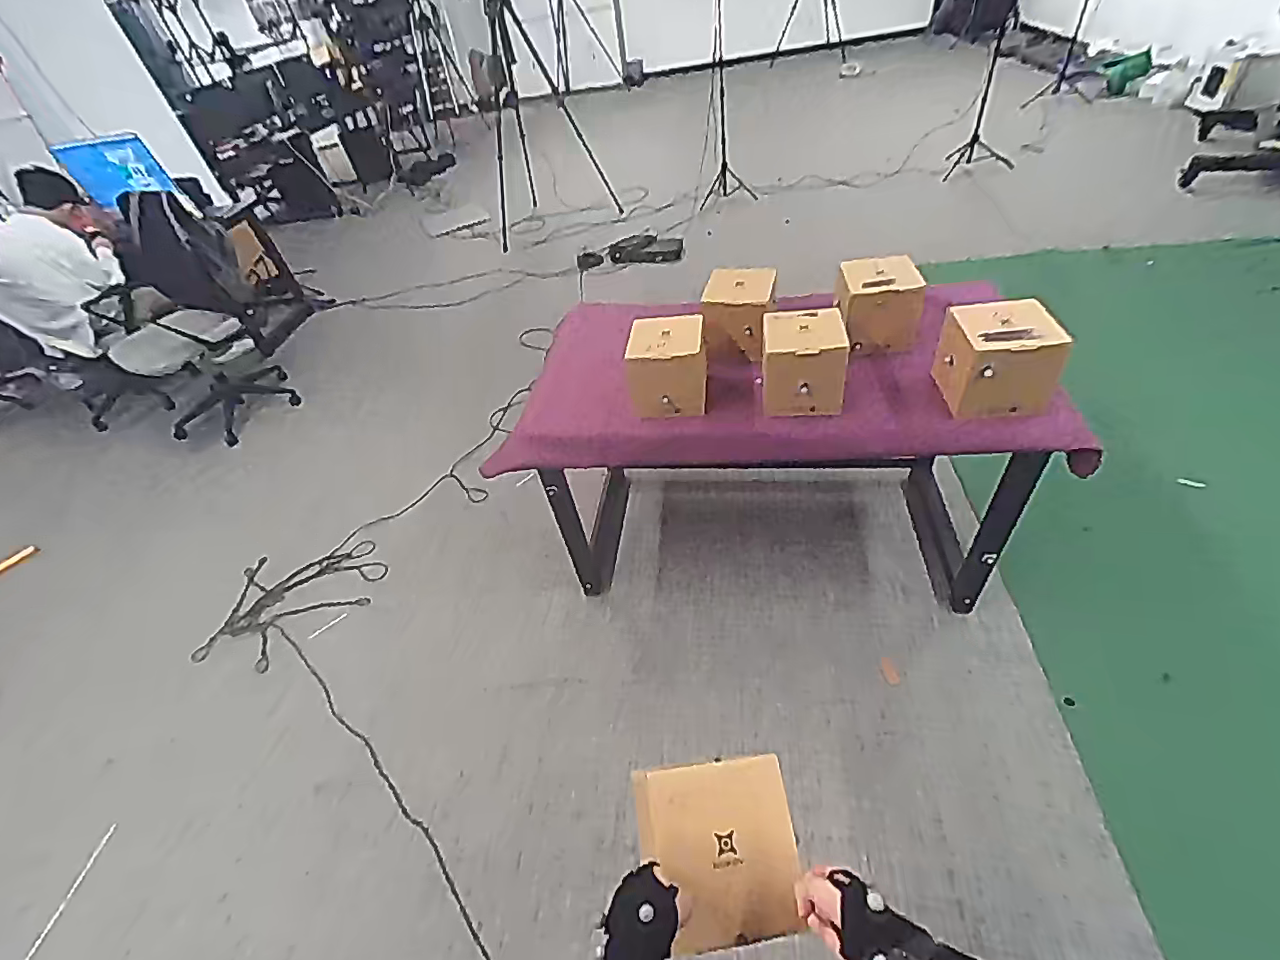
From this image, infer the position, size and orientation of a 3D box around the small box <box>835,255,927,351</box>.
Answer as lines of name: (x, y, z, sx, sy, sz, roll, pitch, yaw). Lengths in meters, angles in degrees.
small box: (0.580, -0.427, 1.325, 0.168, 0.176, 0.179, -2, 44, 10)

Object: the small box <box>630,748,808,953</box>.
small box: (0.082, 0.443, 0.677, 0.168, 0.176, 0.179, -4, 65, -9)

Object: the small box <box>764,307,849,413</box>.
small box: (0.361, -0.260, 1.200, 0.168, 0.176, 0.179, 0, 44, 11)

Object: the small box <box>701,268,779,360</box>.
small box: (0.261, -0.427, 1.392, 0.168, 0.176, 0.179, 7, 47, 17)

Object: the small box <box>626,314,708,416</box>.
small box: (0.070, -0.268, 1.267, 0.168, 0.176, 0.179, -1, 45, 11)
